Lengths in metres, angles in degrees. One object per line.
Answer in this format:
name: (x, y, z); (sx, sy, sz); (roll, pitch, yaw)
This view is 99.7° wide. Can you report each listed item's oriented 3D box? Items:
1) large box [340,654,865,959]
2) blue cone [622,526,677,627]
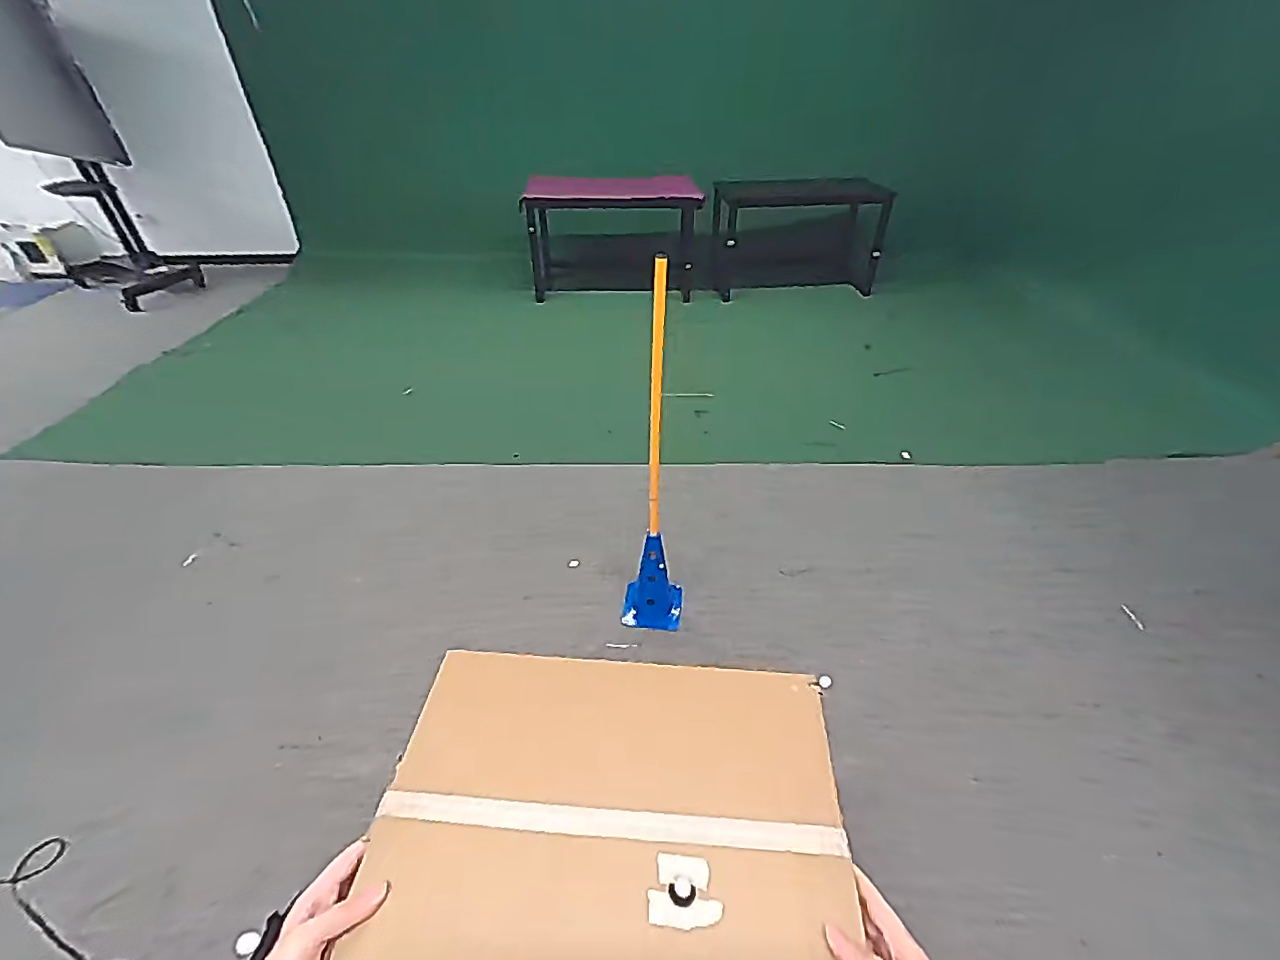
large box: (-0.023, 0.415, 0.575); (0.408, 0.320, 0.320); (3, 41, 4)
blue cone: (0.036, 0.310, 1.823); (0.193, 0.380, 0.192); (5, 38, 7)
